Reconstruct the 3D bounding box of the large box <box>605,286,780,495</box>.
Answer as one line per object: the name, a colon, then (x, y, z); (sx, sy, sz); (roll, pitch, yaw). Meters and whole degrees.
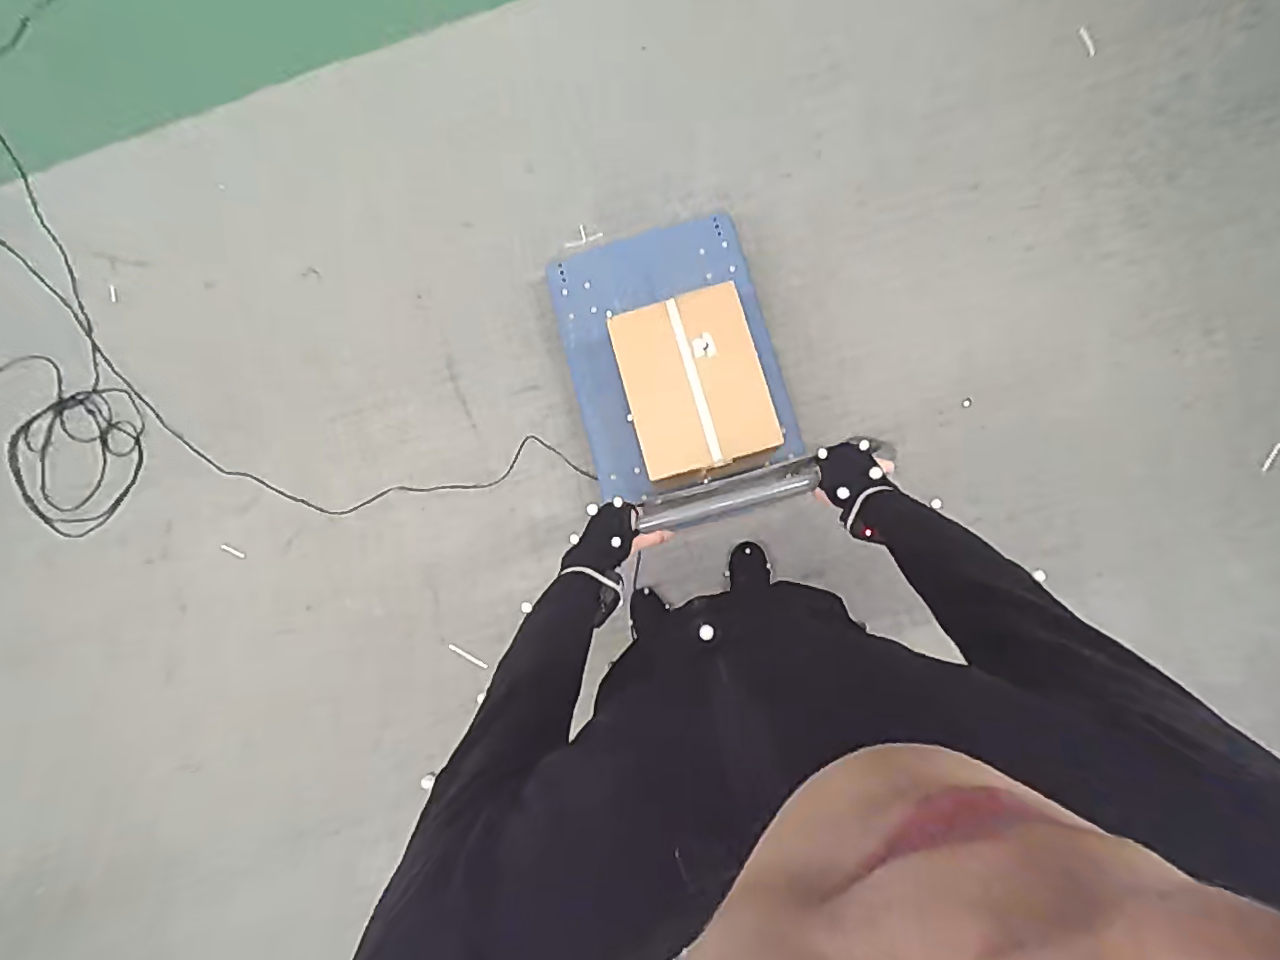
large box: (0.131, -0.206, 1.389); (0.320, 0.320, 0.408); (-16, 80, 2)
